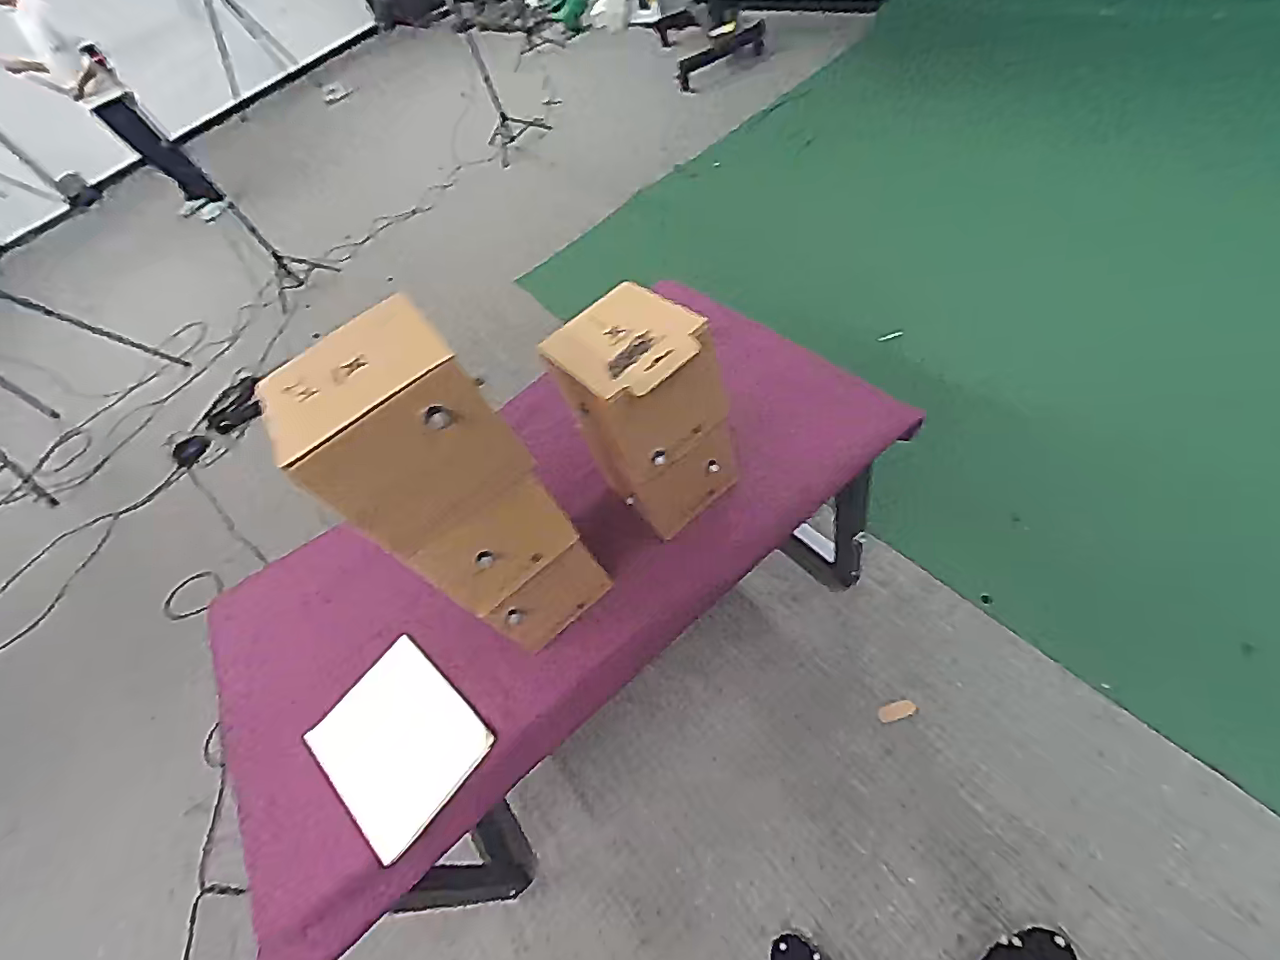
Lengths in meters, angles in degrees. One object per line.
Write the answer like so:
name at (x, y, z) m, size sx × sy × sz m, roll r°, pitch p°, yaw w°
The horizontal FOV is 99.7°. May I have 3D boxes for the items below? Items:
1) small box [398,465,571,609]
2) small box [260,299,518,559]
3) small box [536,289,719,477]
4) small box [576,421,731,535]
small box at (-0.217, 0.044, 0.706) m, size 0.168 × 0.176 × 0.179 m, roll -39°, pitch 51°, yaw -10°
small box at (-0.253, -0.052, 0.576) m, size 0.179 × 0.176 × 0.168 m, roll -37°, pitch 51°, yaw -9°
small box at (-0.010, -0.129, 0.760) m, size 0.168 × 0.176 × 0.179 m, roll -39°, pitch 51°, yaw -12°
small box at (0.029, -0.034, 0.888) m, size 0.168 × 0.176 × 0.179 m, roll -38°, pitch 51°, yaw -11°
